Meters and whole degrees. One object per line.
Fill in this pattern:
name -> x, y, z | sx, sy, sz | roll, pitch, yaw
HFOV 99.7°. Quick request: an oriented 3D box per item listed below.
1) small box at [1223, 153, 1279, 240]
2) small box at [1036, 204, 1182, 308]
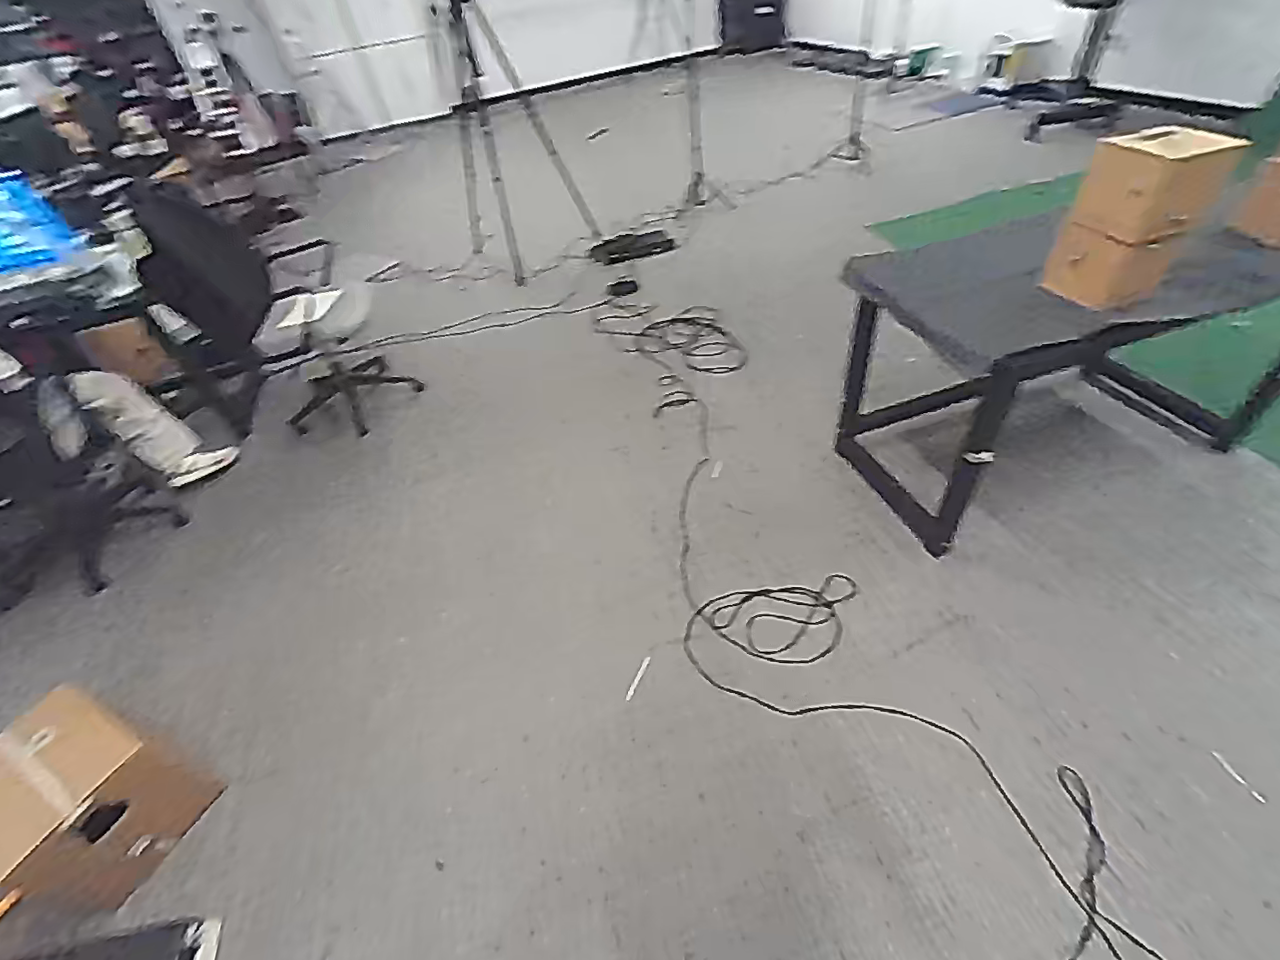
small box -> 1.656, -0.715, 1.358 | 0.168, 0.176, 0.179 | -4, 43, 7
small box -> 1.105, -0.536, 1.295 | 0.168, 0.176, 0.179 | -18, 44, -7
